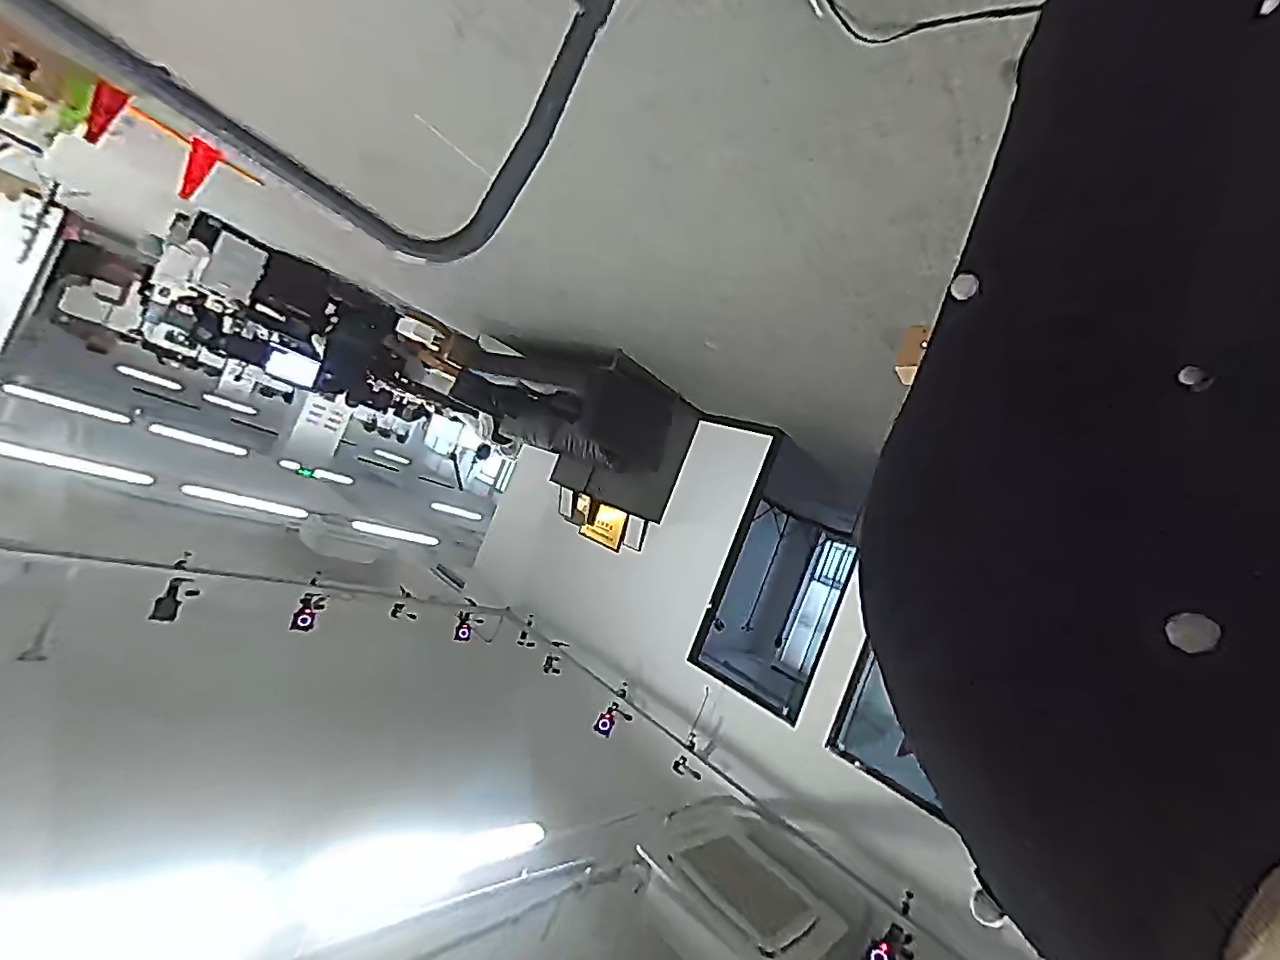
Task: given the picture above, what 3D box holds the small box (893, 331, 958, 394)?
[{"bbox_3d":[1.094,-0.452,2.068,0.168,0.176,0.179,20,176,39],"label":"small box"}]
